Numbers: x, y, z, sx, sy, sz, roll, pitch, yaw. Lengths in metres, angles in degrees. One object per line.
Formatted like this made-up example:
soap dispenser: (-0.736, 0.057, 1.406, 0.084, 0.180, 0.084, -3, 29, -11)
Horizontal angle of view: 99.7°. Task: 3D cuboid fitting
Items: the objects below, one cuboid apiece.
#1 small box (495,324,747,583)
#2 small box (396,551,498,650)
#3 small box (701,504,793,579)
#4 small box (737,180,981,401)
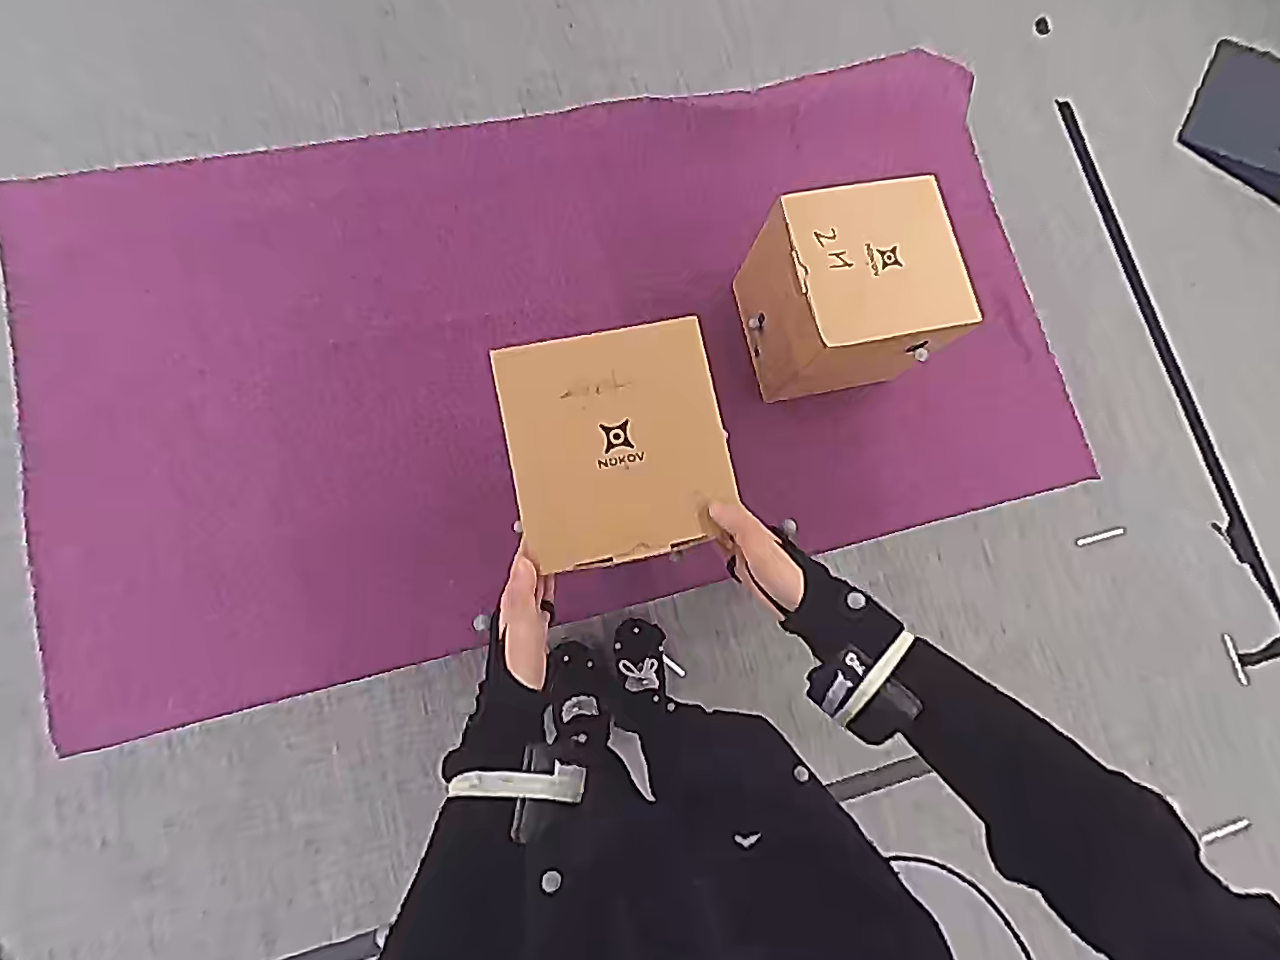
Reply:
small box: (-0.021, -0.014, 0.488, 0.168, 0.176, 0.179, -12, 83, -7)
small box: (-0.421, 0.261, 1.203, 0.168, 0.176, 0.179, -12, 81, -9)
small box: (0.253, 0.149, 1.303, 0.179, 0.176, 0.168, 3, 81, -5)
small box: (0.231, -0.202, 0.613, 0.179, 0.176, 0.168, -12, 81, -8)
